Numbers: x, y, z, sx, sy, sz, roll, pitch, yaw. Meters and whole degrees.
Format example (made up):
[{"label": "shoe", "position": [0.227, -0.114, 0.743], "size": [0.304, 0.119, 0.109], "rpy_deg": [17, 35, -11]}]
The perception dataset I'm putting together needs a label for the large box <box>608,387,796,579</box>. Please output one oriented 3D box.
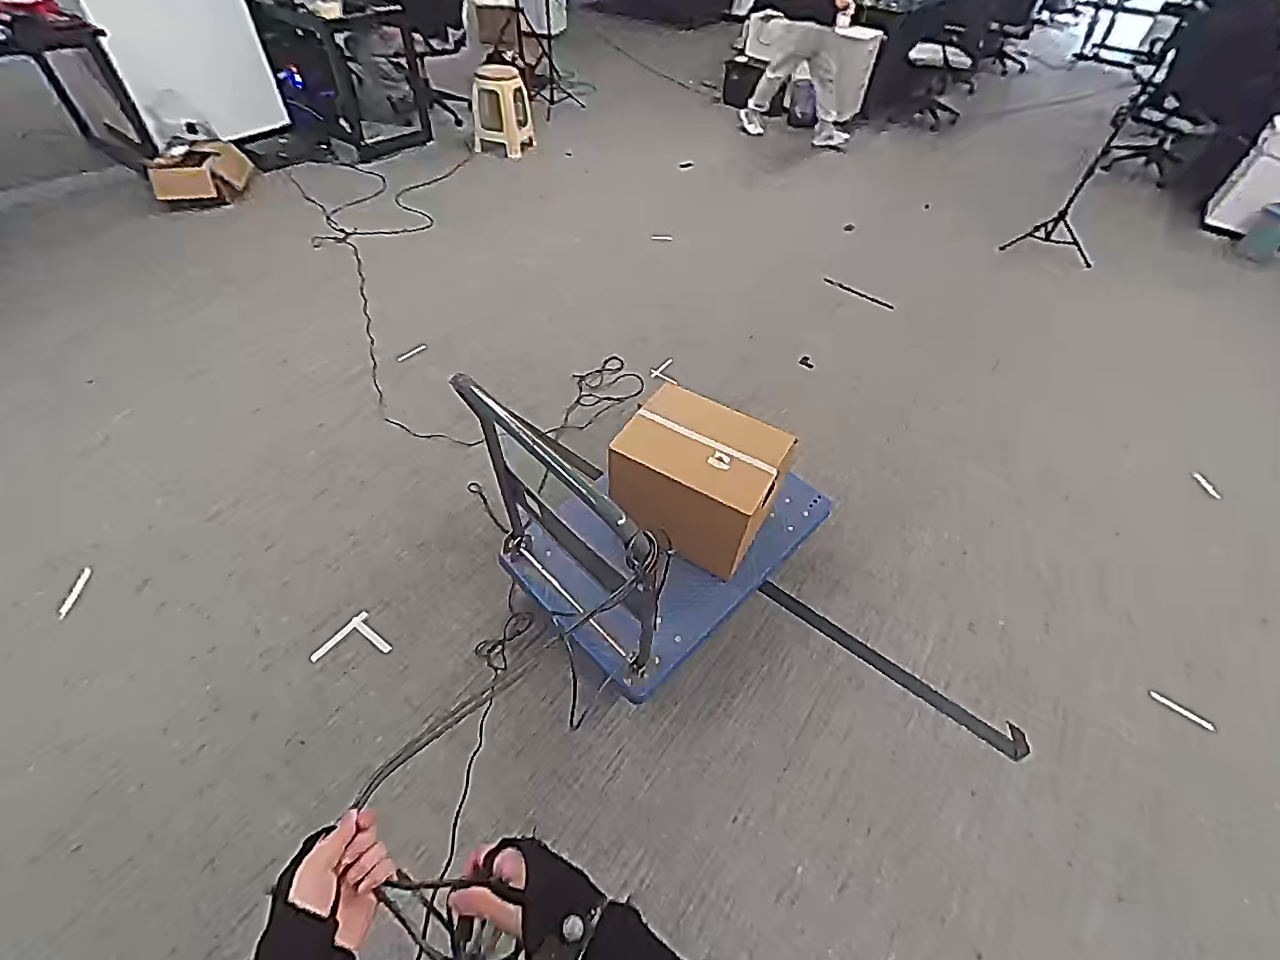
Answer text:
[{"label": "large box", "position": [0.158, 0.005, 1.517], "size": [0.408, 0.320, 0.320], "rpy_deg": [27, 54, 17]}]
